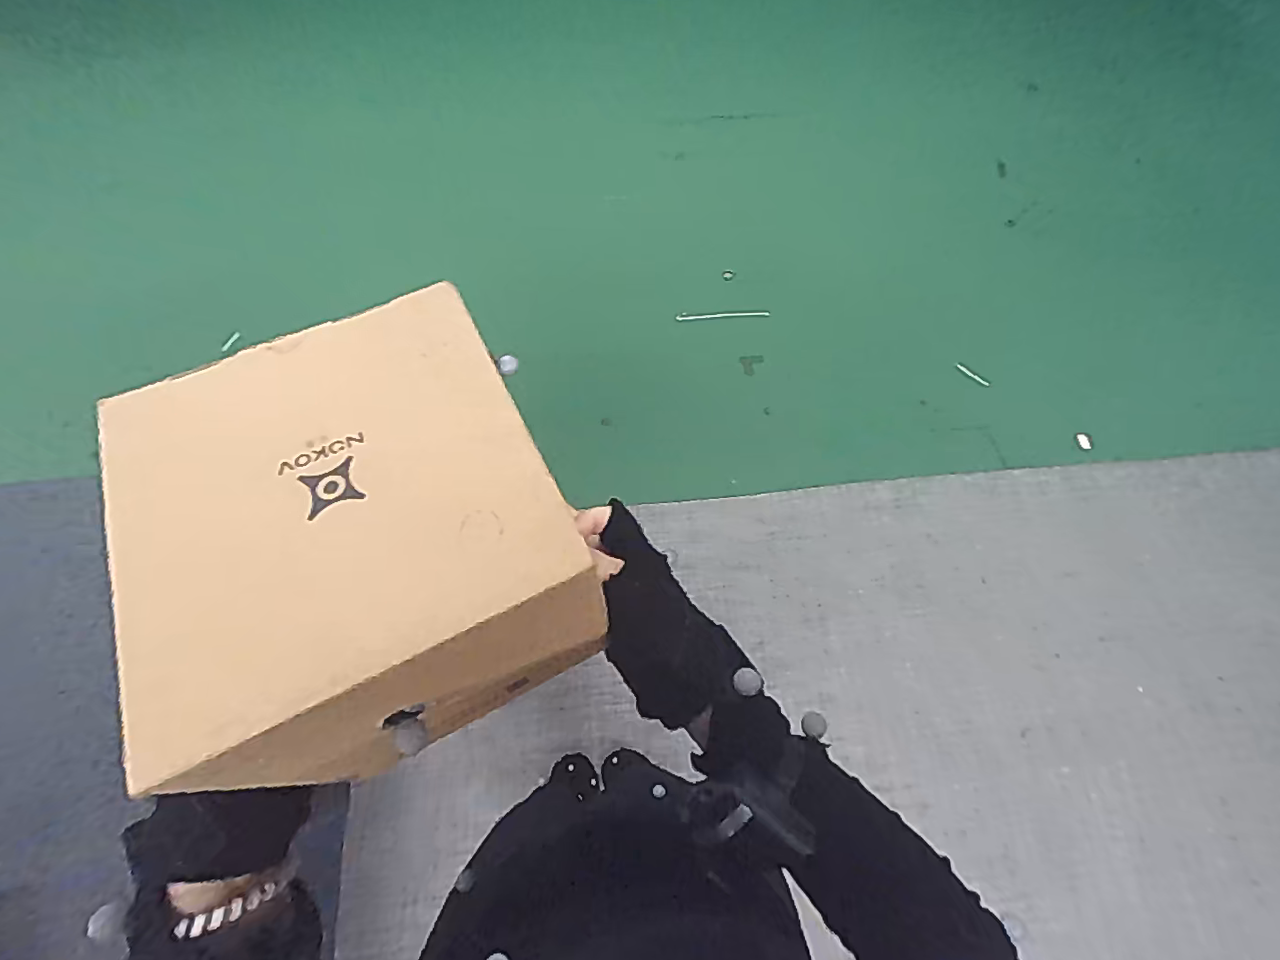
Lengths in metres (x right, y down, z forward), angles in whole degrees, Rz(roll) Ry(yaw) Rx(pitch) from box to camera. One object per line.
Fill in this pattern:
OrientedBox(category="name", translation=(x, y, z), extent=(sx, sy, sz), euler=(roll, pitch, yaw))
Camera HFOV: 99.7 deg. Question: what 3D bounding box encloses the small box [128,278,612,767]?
OrientedBox(category="small box", translation=(-0.123, 0.031, 0.300), extent=(0.168, 0.176, 0.179), euler=(-24, 64, -12))
